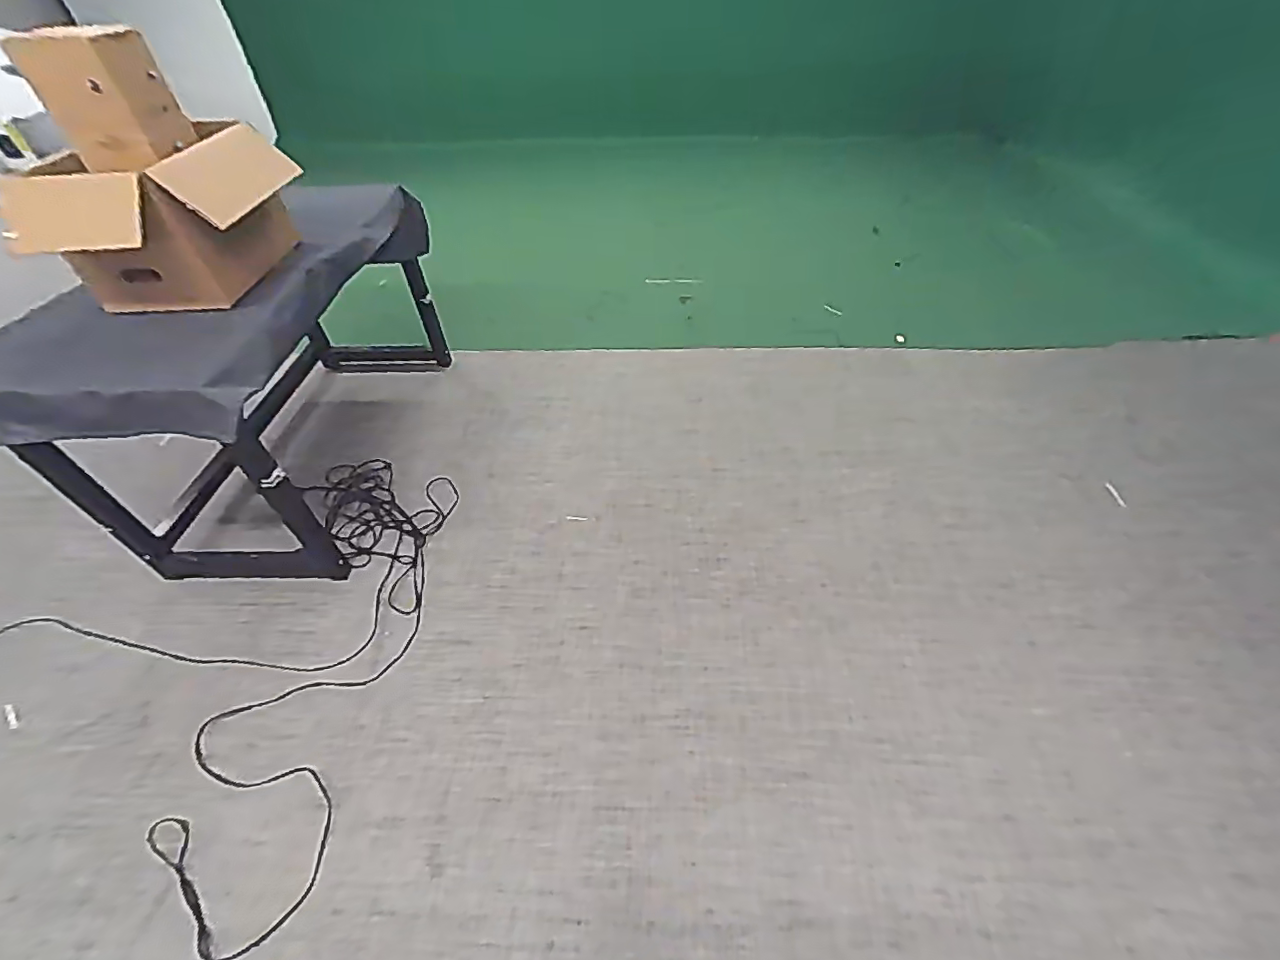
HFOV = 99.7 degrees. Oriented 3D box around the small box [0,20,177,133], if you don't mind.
[{"bbox_3d":[-1.157,-0.858,1.152,0.179,0.176,0.168,-4,45,-1],"label":"small box"}]
